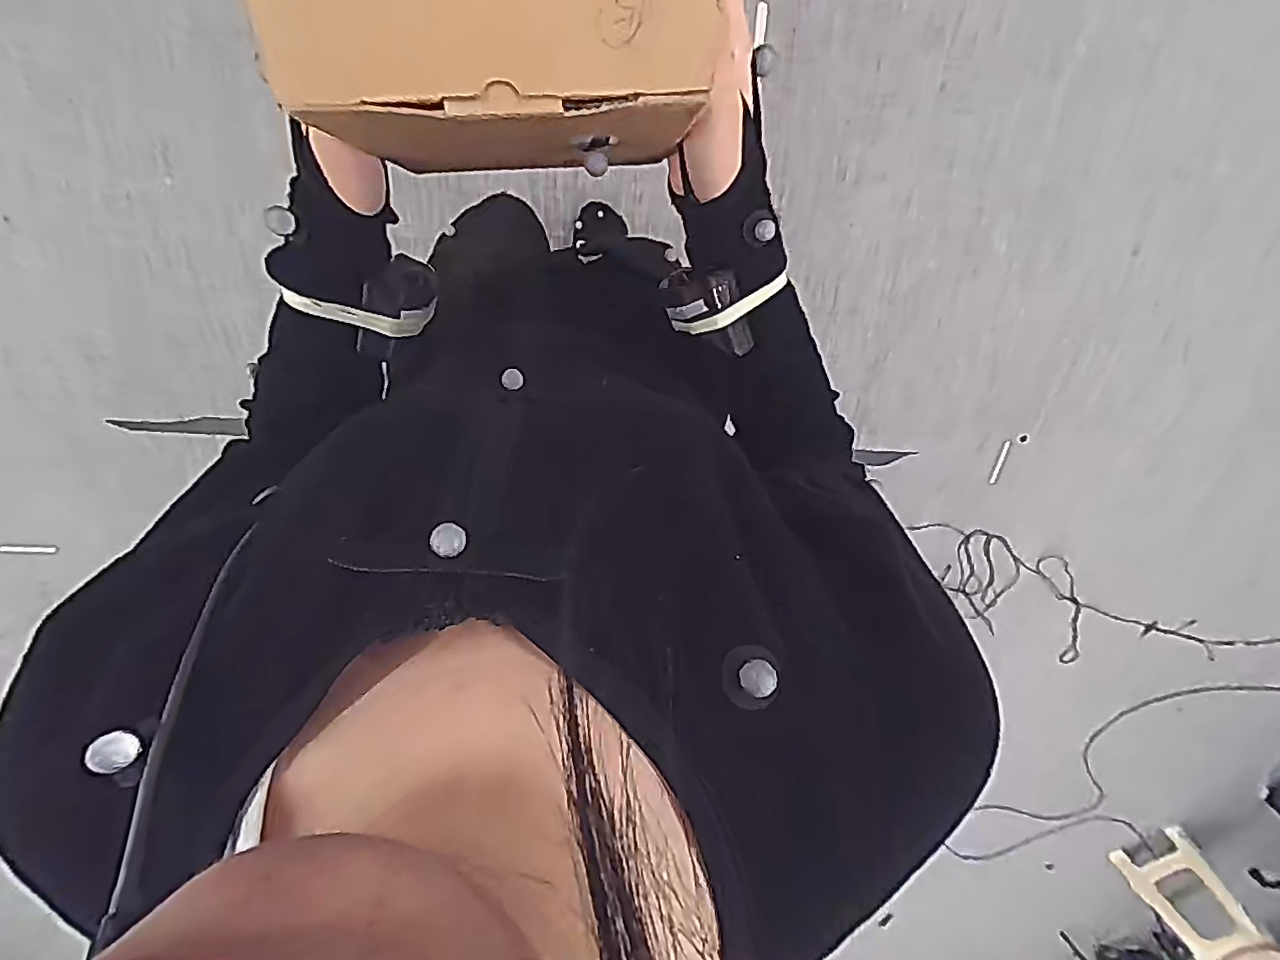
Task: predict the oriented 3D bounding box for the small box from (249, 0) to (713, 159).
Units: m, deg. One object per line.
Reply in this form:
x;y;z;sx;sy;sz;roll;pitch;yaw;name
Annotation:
-0.064;-0.254;0.243;0.168;0.176;0.179;-5;113;-4;small box

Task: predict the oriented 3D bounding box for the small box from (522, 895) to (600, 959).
-0.176;1.060;1.204;0.168;0.176;0.179;3;117;-5;small box
